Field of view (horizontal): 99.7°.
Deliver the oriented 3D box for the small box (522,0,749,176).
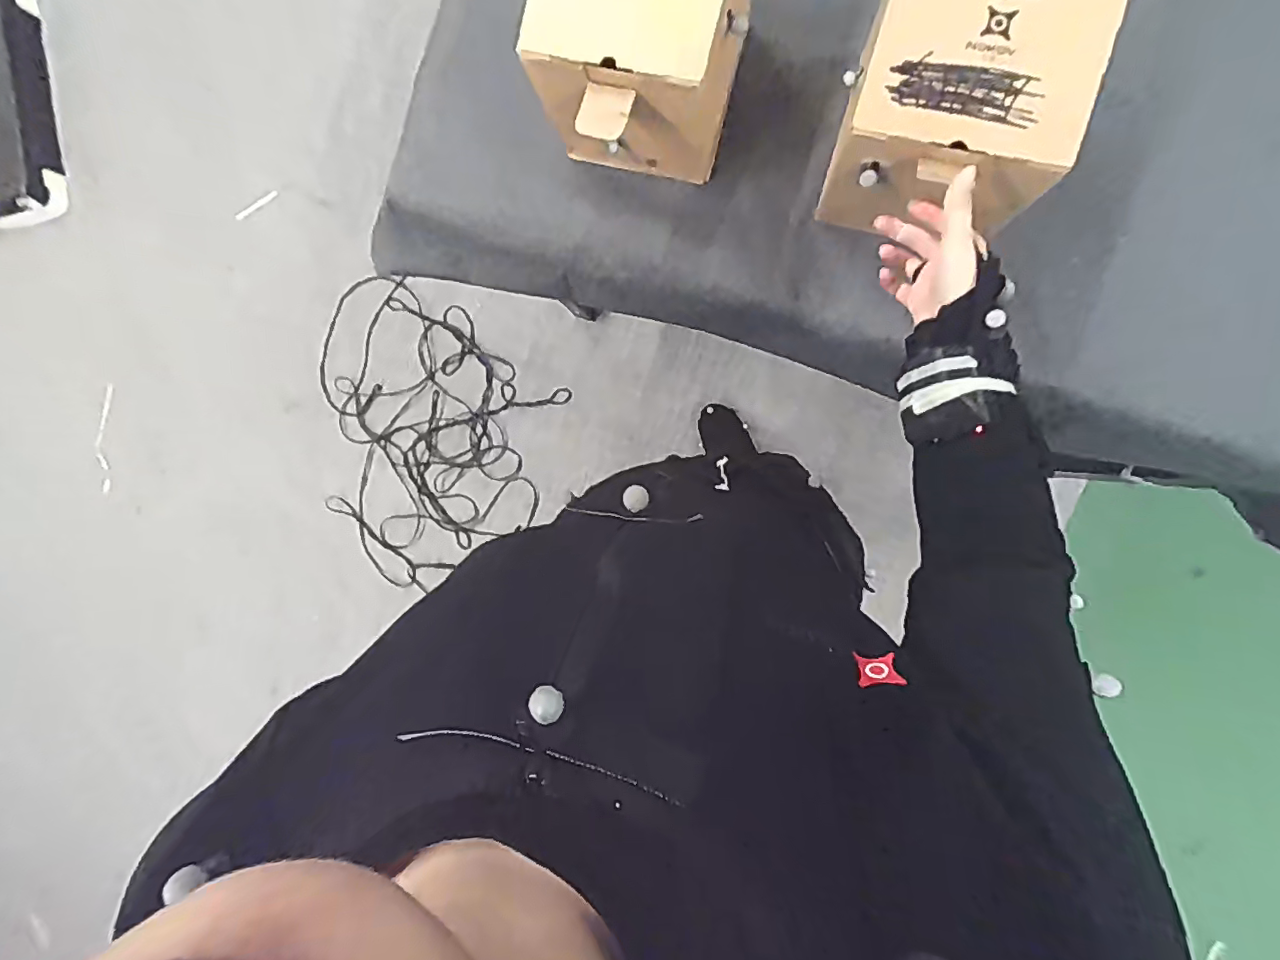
[{"bbox_3d":[0.008,-0.433,0.518,0.168,0.176,0.179,15,96,7],"label":"small box"}]
